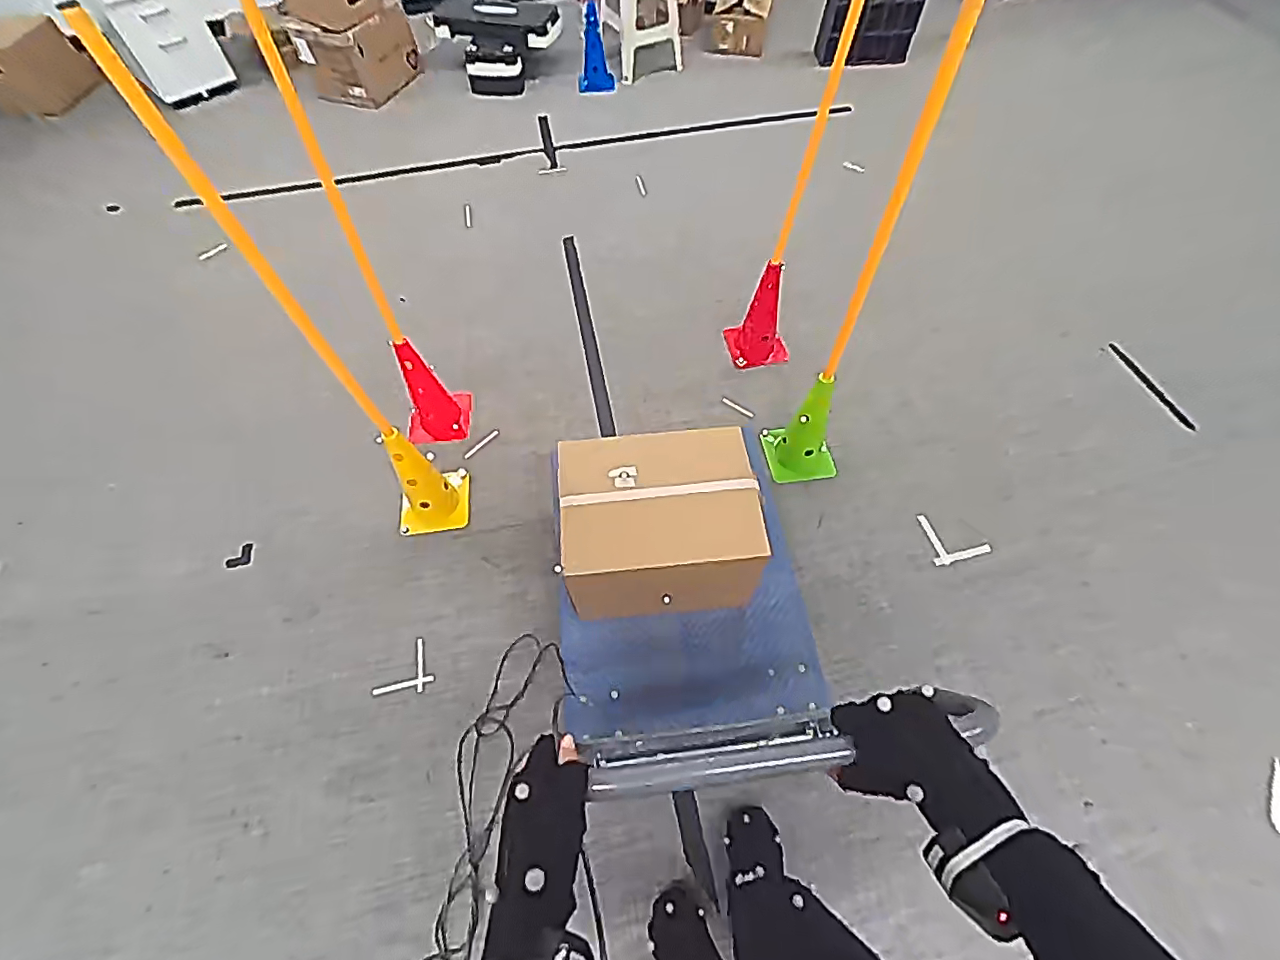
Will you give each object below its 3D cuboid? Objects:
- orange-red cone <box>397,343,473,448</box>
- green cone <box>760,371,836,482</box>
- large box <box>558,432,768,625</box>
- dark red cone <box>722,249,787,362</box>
[{"bbox_3d":[-0.673,-0.285,1.687,0.198,0.360,0.199,-4,57,-2],"label":"orange-red cone"},{"bbox_3d":[0.496,-0.175,1.575,0.202,0.368,0.200,-7,58,-4],"label":"green cone"},{"bbox_3d":[0.042,0.123,1.240,0.408,0.320,0.320,-6,58,-1],"label":"large box"},{"bbox_3d":[0.412,-0.590,1.813,0.201,0.394,0.202,-10,59,-7],"label":"dark red cone"}]
